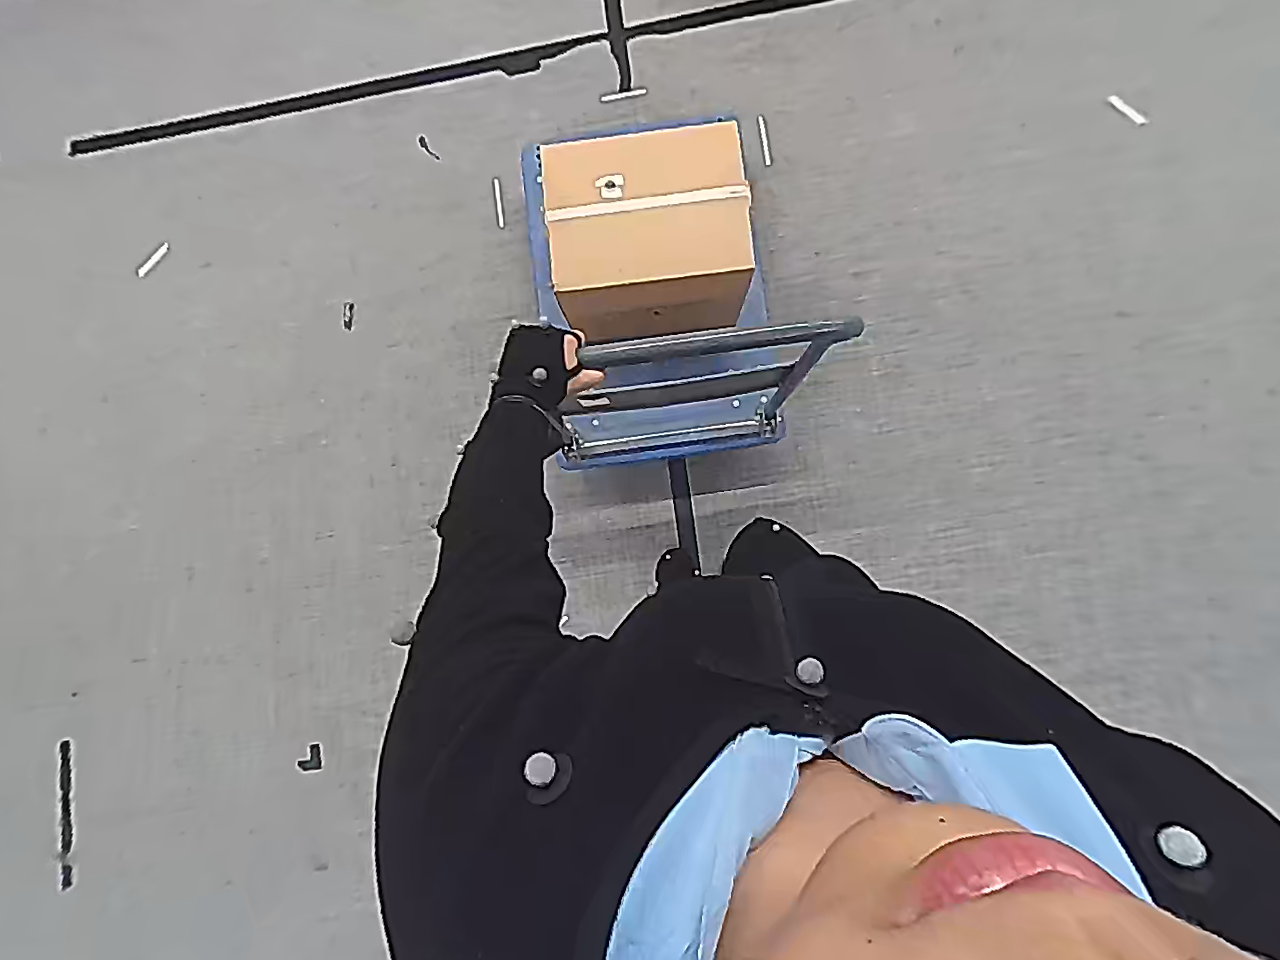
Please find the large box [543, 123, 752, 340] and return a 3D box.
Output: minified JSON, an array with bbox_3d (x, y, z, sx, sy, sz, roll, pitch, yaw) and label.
[{"bbox_3d":[0.022,-0.540,1.241,0.408,0.320,0.320,-6,84,4],"label":"large box"}]
